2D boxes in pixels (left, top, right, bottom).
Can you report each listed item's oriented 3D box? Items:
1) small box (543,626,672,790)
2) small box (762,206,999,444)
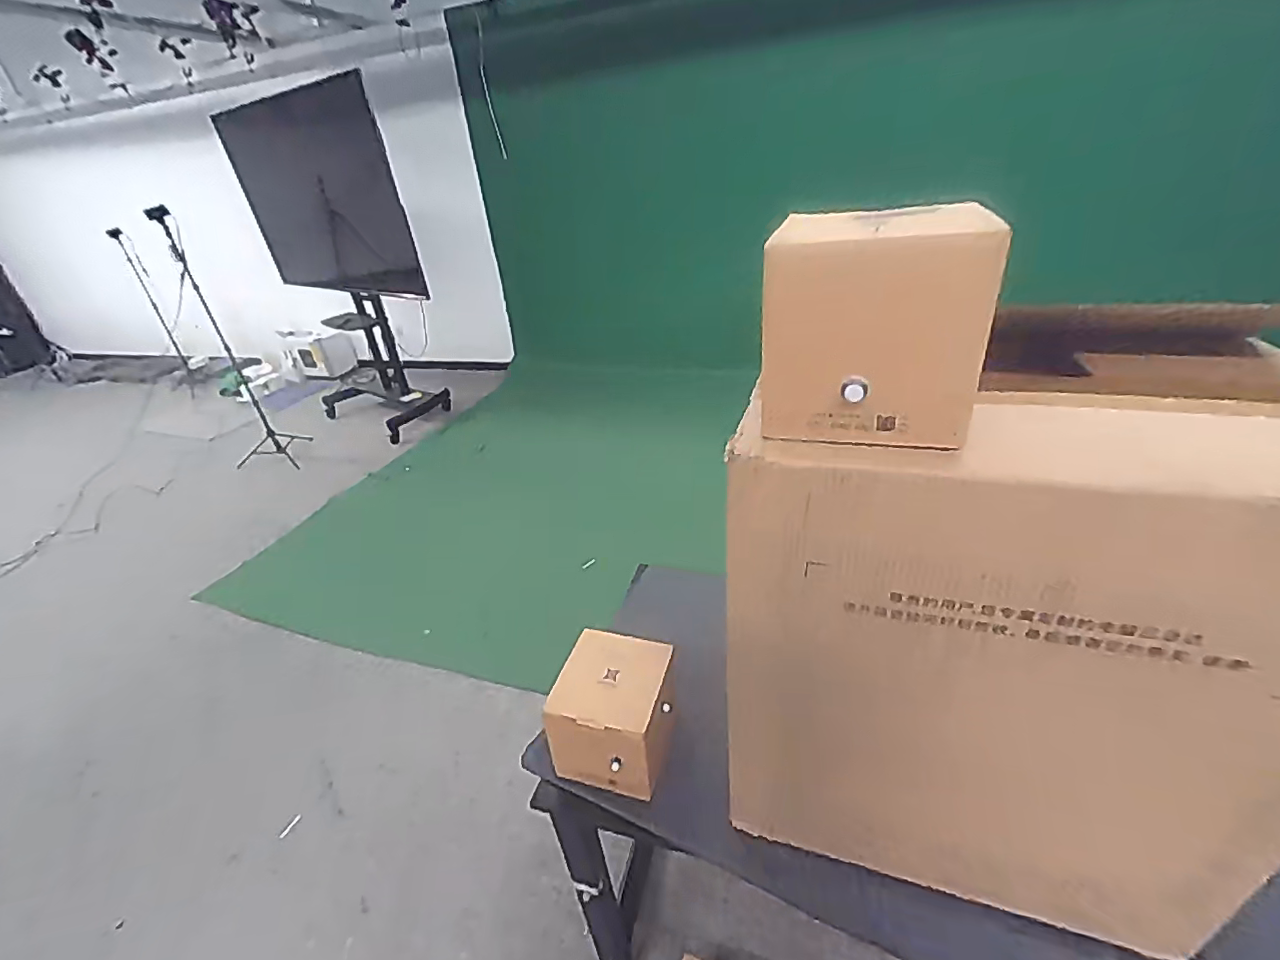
[{"bbox_3d":[-0.042,0.379,0.908,0.168,0.176,0.179,6,30,16],"label":"small box"},{"bbox_3d":[0.208,-0.150,0.506,0.168,0.176,0.179,5,33,20],"label":"small box"}]
